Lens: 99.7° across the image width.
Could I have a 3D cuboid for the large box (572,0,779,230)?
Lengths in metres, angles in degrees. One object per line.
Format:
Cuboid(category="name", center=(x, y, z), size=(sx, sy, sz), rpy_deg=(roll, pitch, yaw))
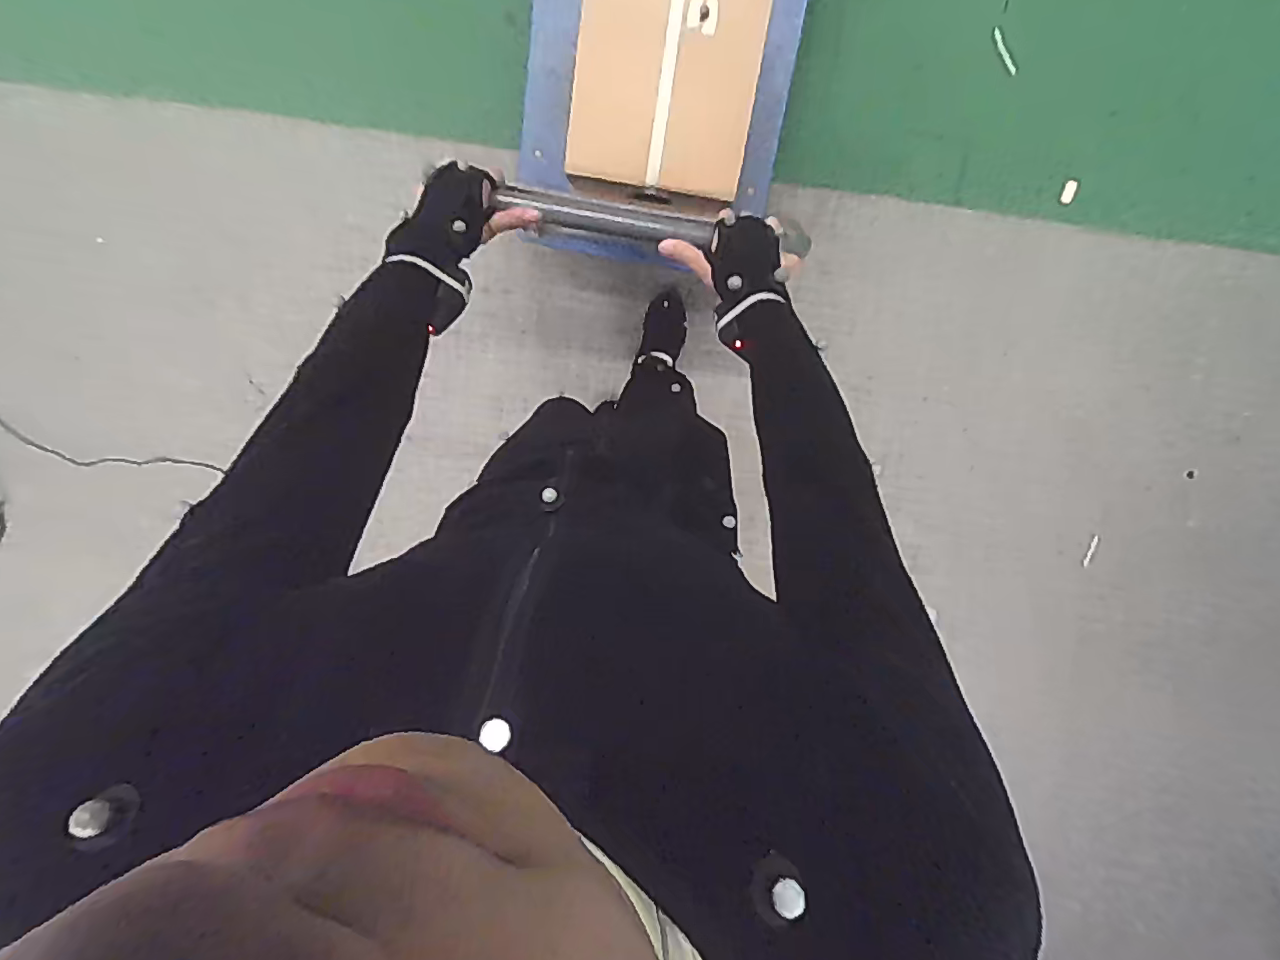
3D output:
Cuboid(category="large box", center=(0.063, -0.744, 1.049), size=(0.320, 0.320, 0.408), rpy_deg=(9, 106, -2))
